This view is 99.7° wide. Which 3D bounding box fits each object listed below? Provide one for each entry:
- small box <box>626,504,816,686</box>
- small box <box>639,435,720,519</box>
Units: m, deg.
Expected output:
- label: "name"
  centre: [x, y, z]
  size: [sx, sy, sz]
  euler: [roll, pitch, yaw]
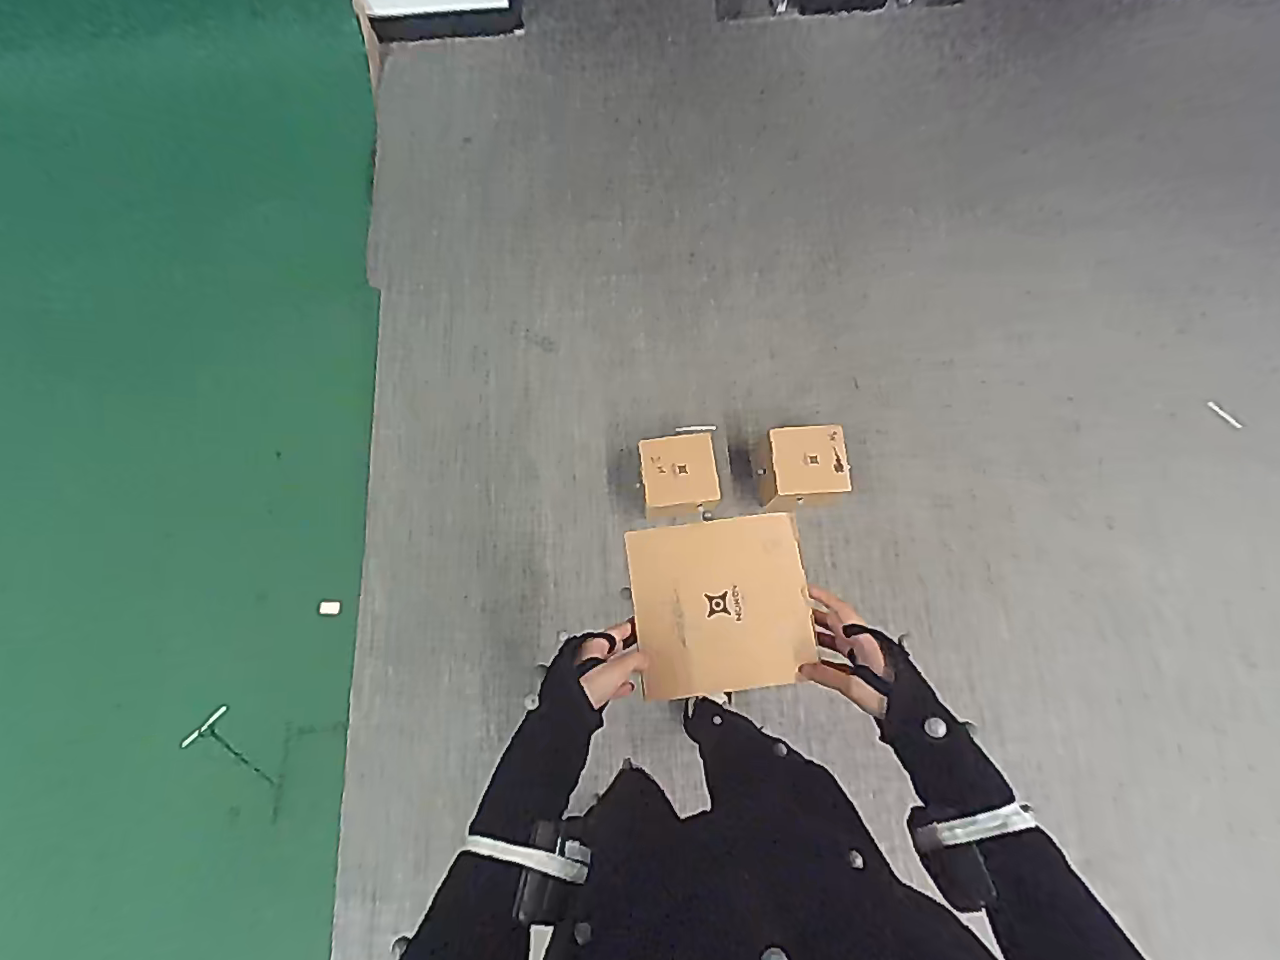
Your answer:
- label: "small box"
  centre: [0.081, 0.127, 0.624]
  size: [0.179, 0.176, 0.168]
  euler: [-8, 79, 0]
- label: "small box"
  centre: [0.093, -0.003, 1.353]
  size: [0.179, 0.176, 0.168]
  euler: [-7, 76, 0]
